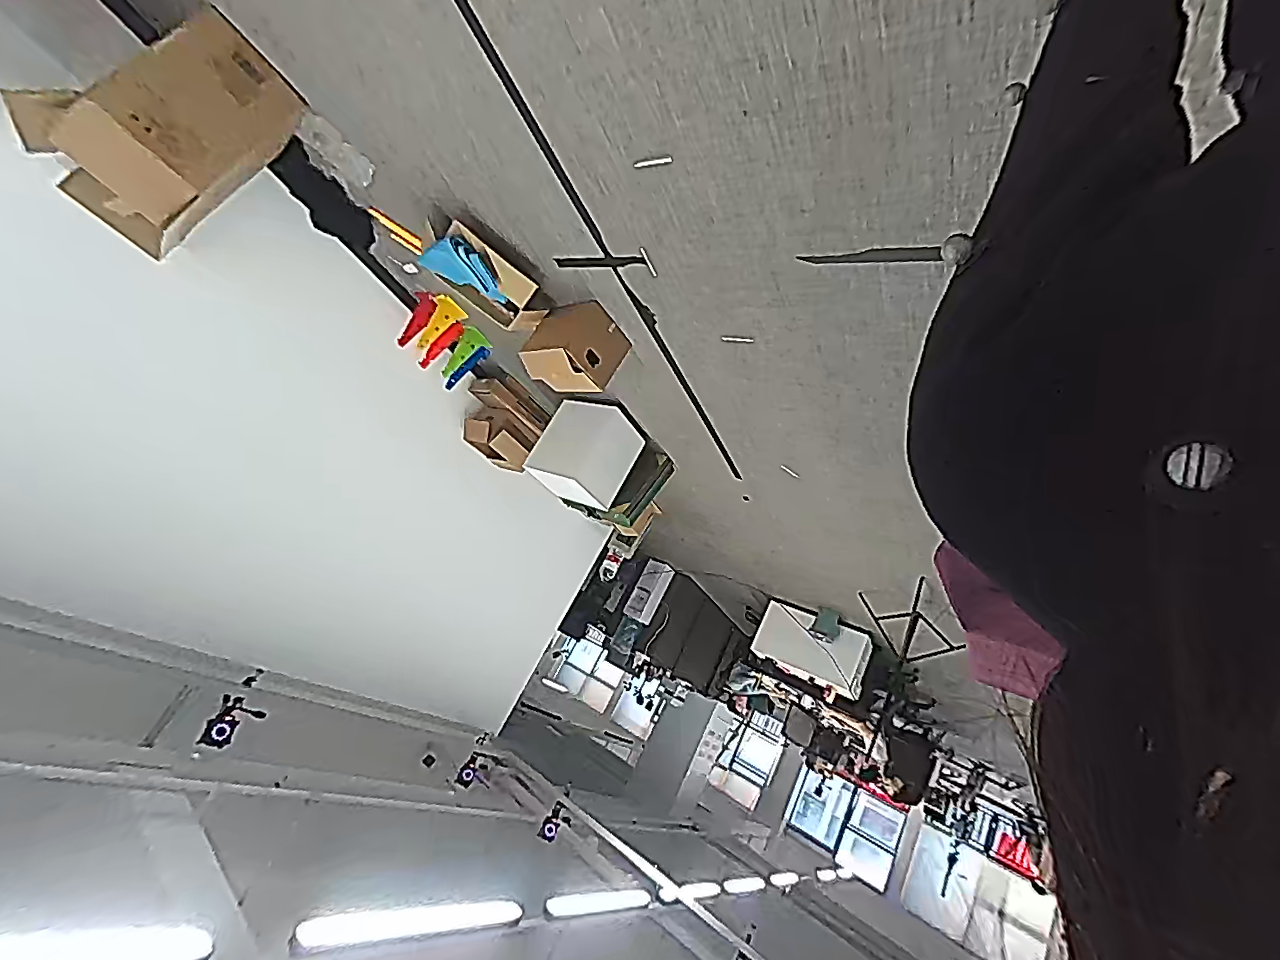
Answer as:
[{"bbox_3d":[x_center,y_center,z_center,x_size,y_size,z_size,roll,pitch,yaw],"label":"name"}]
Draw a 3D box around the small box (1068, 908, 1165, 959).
[{"bbox_3d":[1.253,1.275,1.430,0.168,0.176,0.179,14,157,37],"label":"small box"}]
